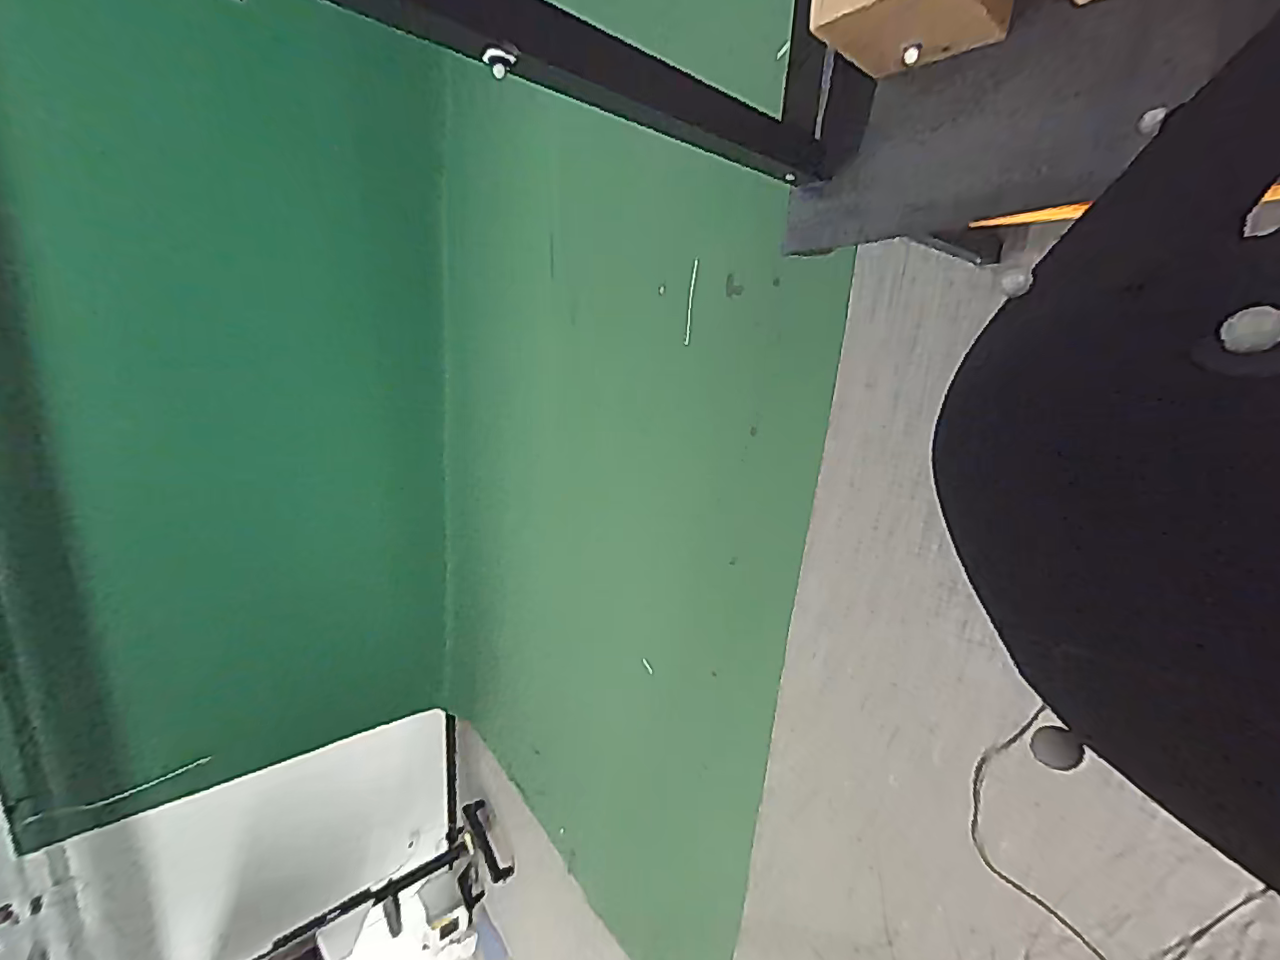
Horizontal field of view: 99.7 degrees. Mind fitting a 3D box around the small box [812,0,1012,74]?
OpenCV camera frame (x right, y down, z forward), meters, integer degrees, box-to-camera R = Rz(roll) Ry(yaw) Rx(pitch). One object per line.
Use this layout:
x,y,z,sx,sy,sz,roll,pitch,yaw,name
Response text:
0.329,-0.622,0.627,0.168,0.176,0.179,21,112,47,small box
